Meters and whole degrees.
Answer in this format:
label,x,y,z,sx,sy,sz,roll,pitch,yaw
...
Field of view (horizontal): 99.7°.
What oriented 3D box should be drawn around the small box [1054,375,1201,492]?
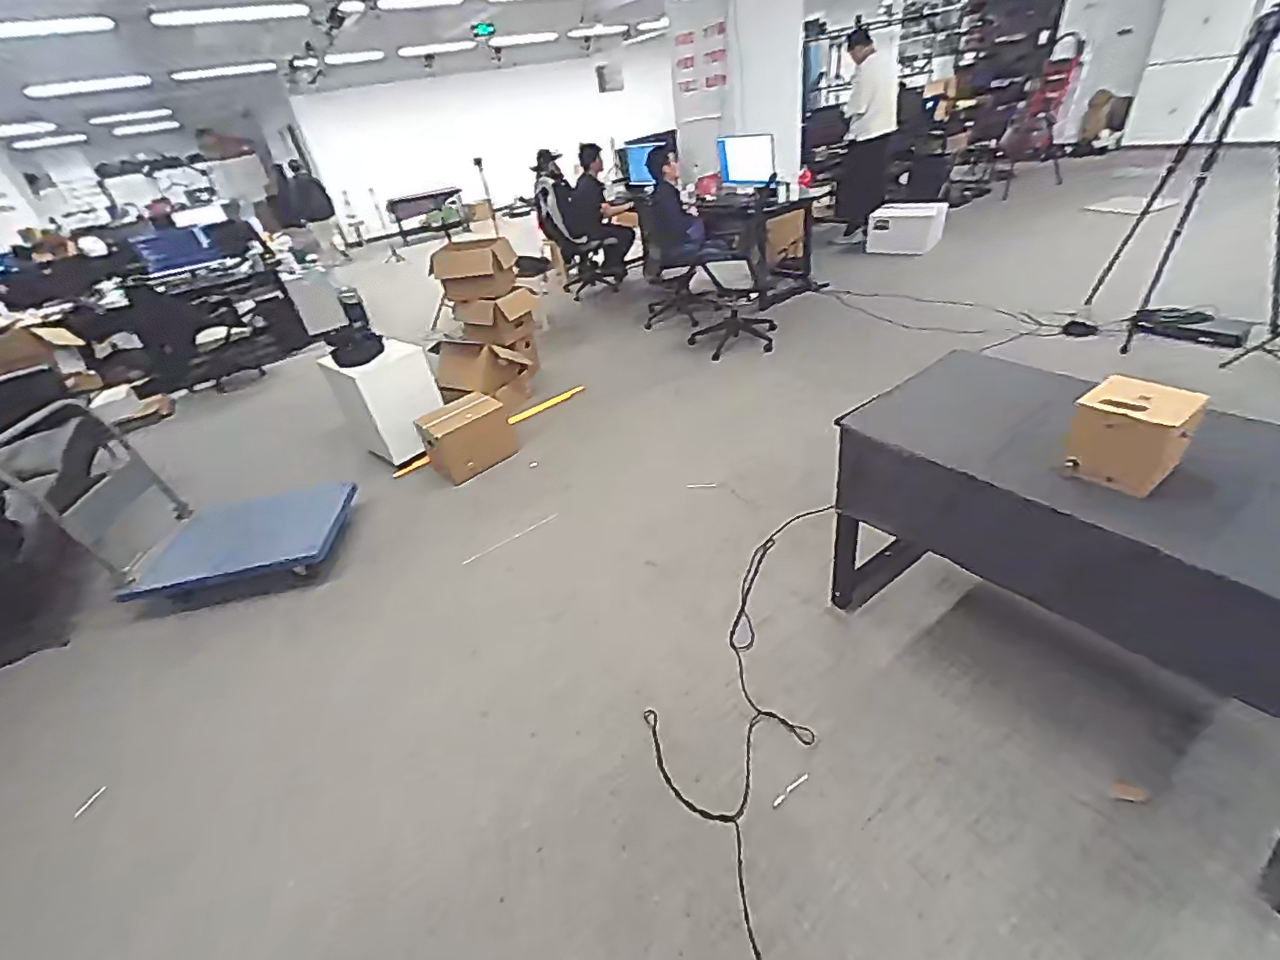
label,x,y,z,sx,sy,sz,roll,pitch,yaw
small box,1.018,-0.099,1.145,0.179,0.176,0.168,-27,38,-24
